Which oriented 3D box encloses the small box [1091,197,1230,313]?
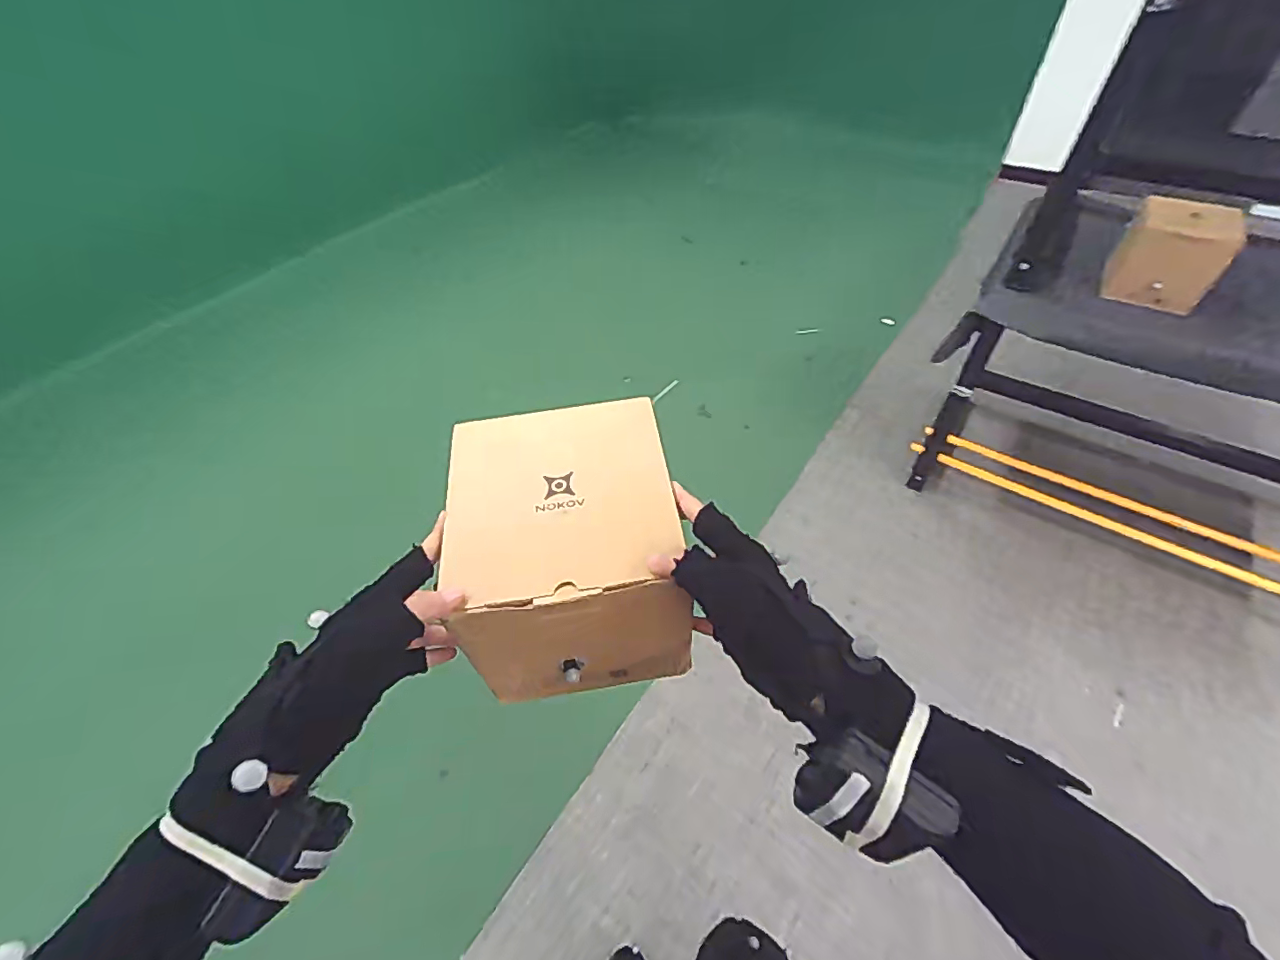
[{"bbox_3d":[1.162,-0.506,1.218,0.168,0.176,0.179,24,55,23],"label":"small box"}]
